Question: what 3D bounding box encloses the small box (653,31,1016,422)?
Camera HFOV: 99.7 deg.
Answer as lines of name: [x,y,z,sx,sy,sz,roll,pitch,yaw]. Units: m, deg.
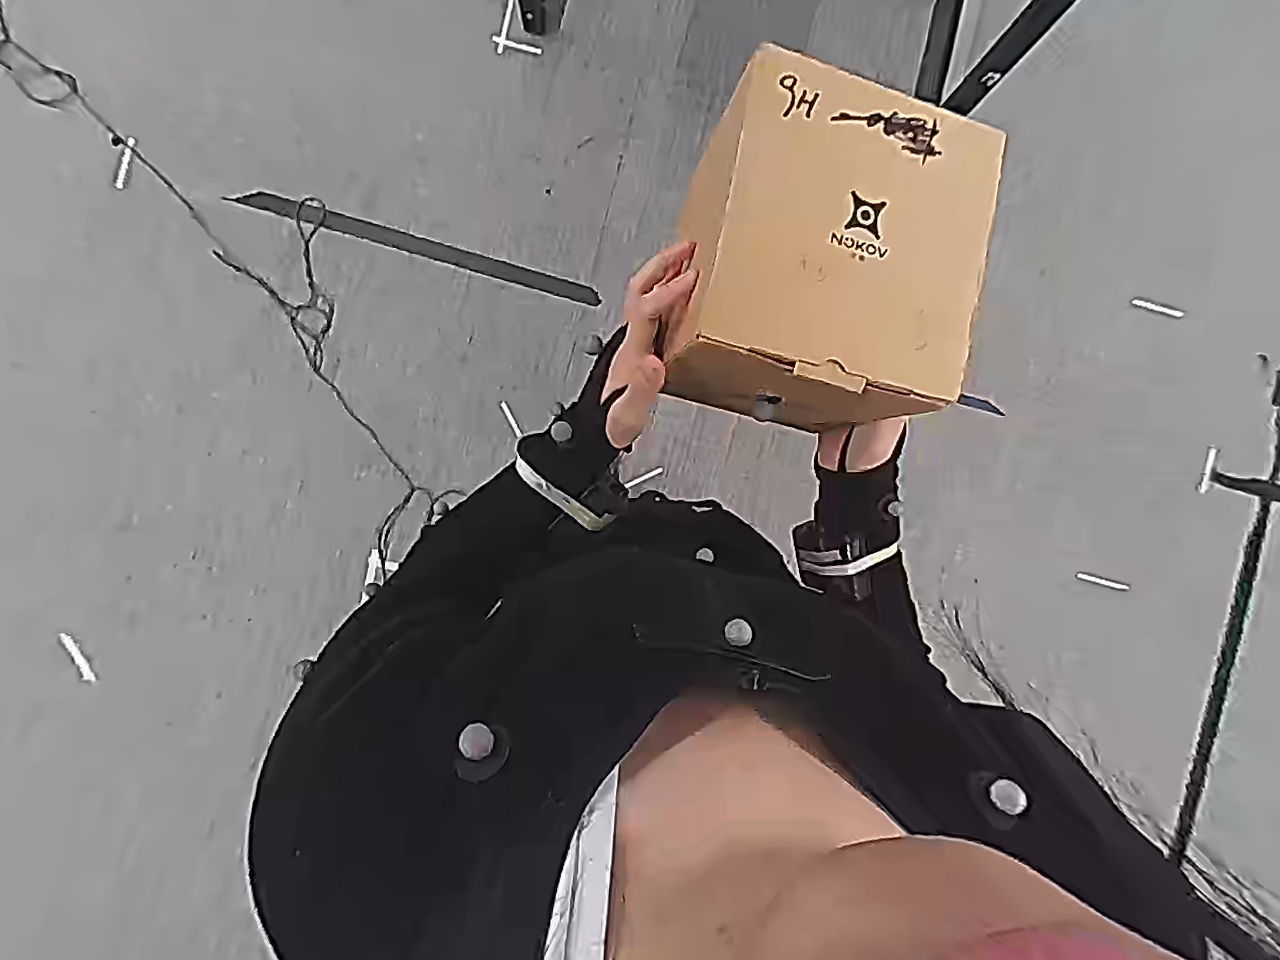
small box: [0.113,-0.145,0.385,0.168,0.176,0.179,13,88,-10]
